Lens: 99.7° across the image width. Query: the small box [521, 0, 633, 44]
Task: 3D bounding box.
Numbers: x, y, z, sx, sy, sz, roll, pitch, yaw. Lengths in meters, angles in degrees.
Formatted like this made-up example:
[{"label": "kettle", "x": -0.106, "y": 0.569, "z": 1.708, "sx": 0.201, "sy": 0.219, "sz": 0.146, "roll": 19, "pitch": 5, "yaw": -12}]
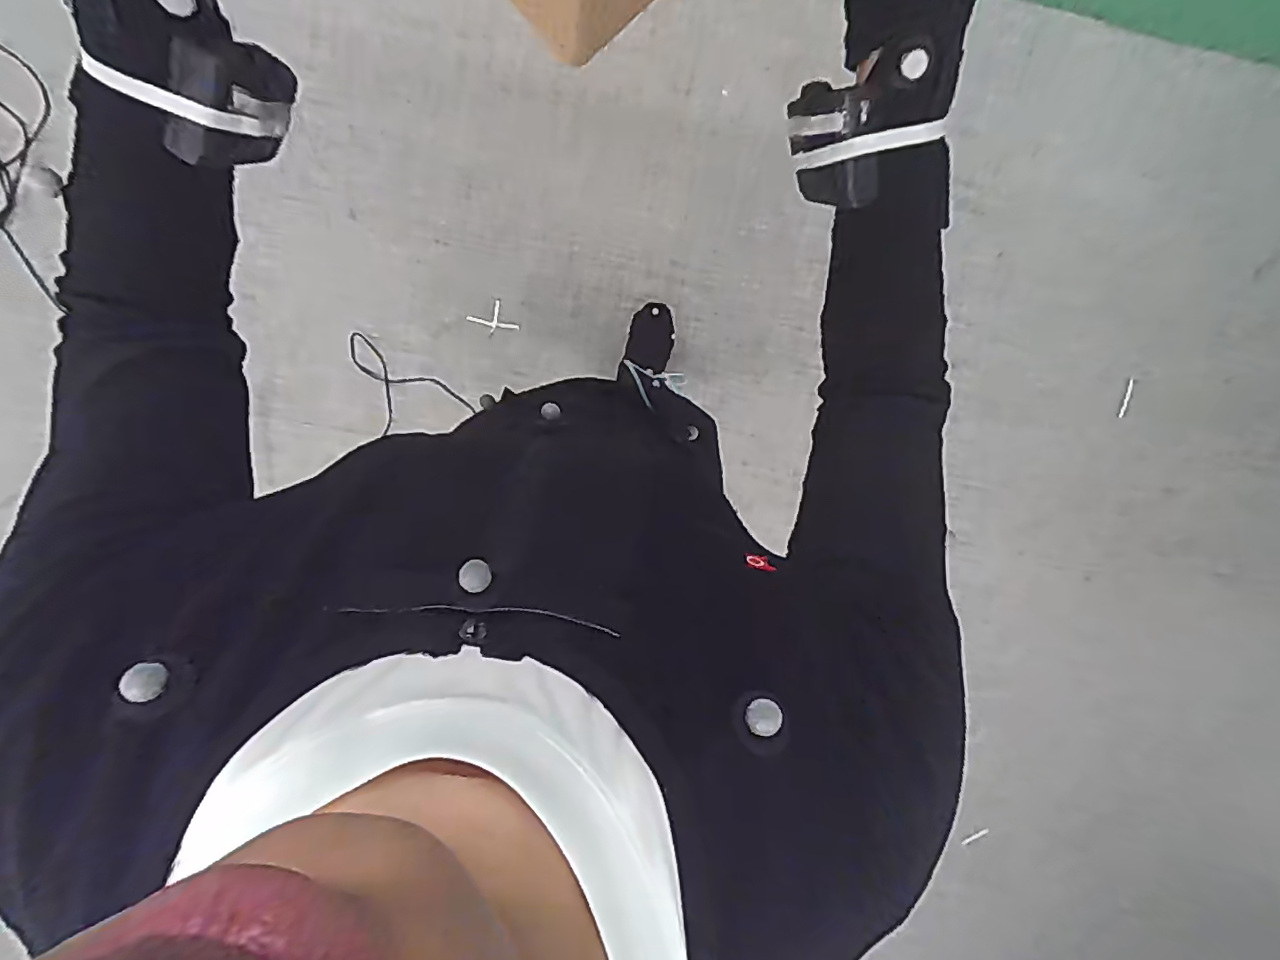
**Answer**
[{"label": "small box", "x": -0.016, "y": -0.344, "z": 0.214, "sx": 0.179, "sy": 0.176, "sz": 0.168, "roll": -43, "pitch": 102, "yaw": -1}]
